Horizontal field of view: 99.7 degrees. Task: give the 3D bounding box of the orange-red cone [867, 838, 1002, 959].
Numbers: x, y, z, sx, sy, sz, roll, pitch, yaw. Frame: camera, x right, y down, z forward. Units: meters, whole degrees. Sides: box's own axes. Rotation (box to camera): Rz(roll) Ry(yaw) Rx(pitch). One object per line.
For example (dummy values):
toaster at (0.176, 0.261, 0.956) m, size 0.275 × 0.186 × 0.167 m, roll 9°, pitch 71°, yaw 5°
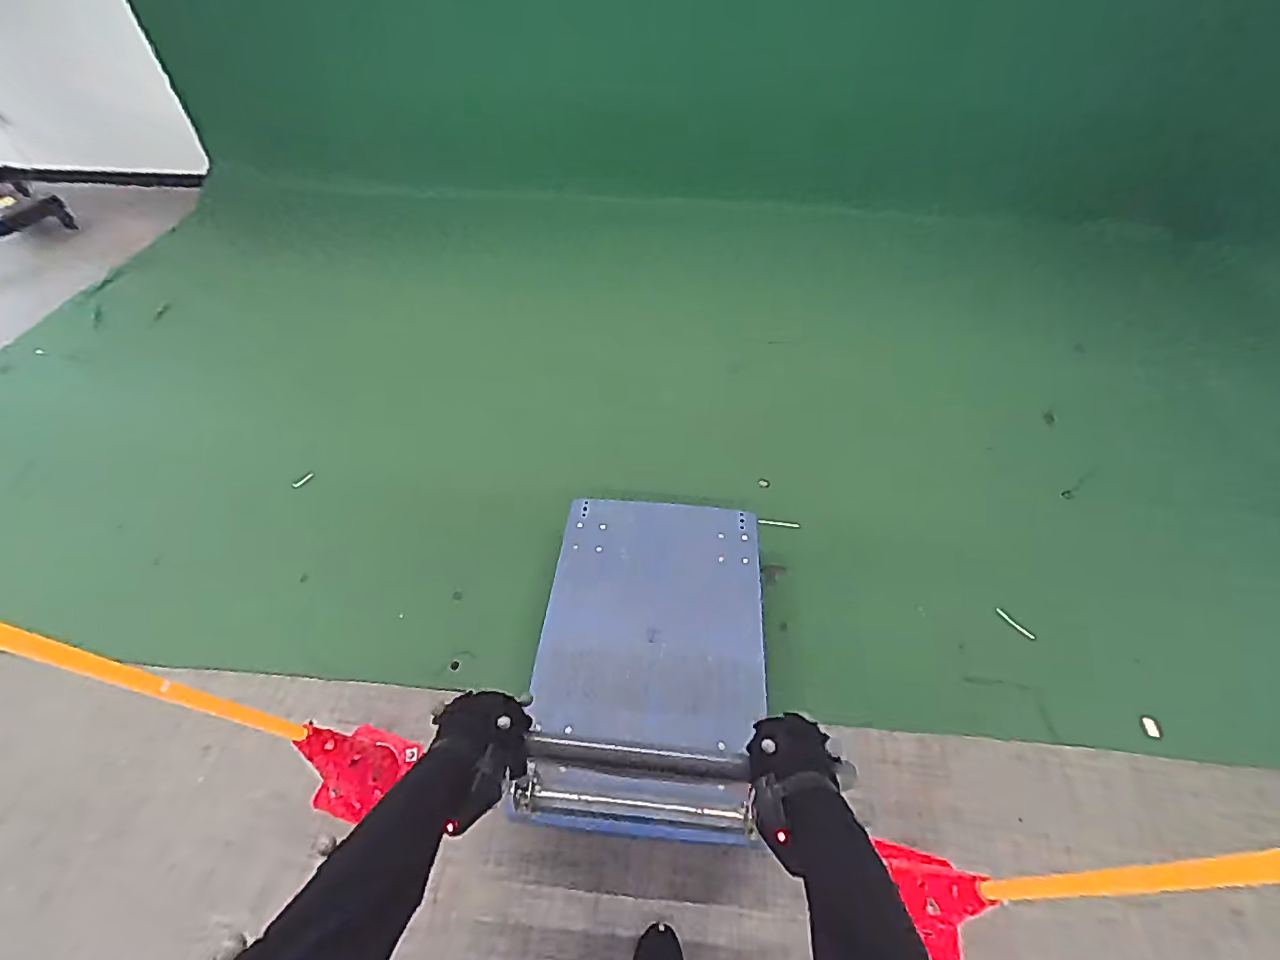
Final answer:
orange-red cone at (0.599, 0.809, 1.052) m, size 0.198 × 0.360 × 0.199 m, roll 12°, pitch 51°, yaw 10°
